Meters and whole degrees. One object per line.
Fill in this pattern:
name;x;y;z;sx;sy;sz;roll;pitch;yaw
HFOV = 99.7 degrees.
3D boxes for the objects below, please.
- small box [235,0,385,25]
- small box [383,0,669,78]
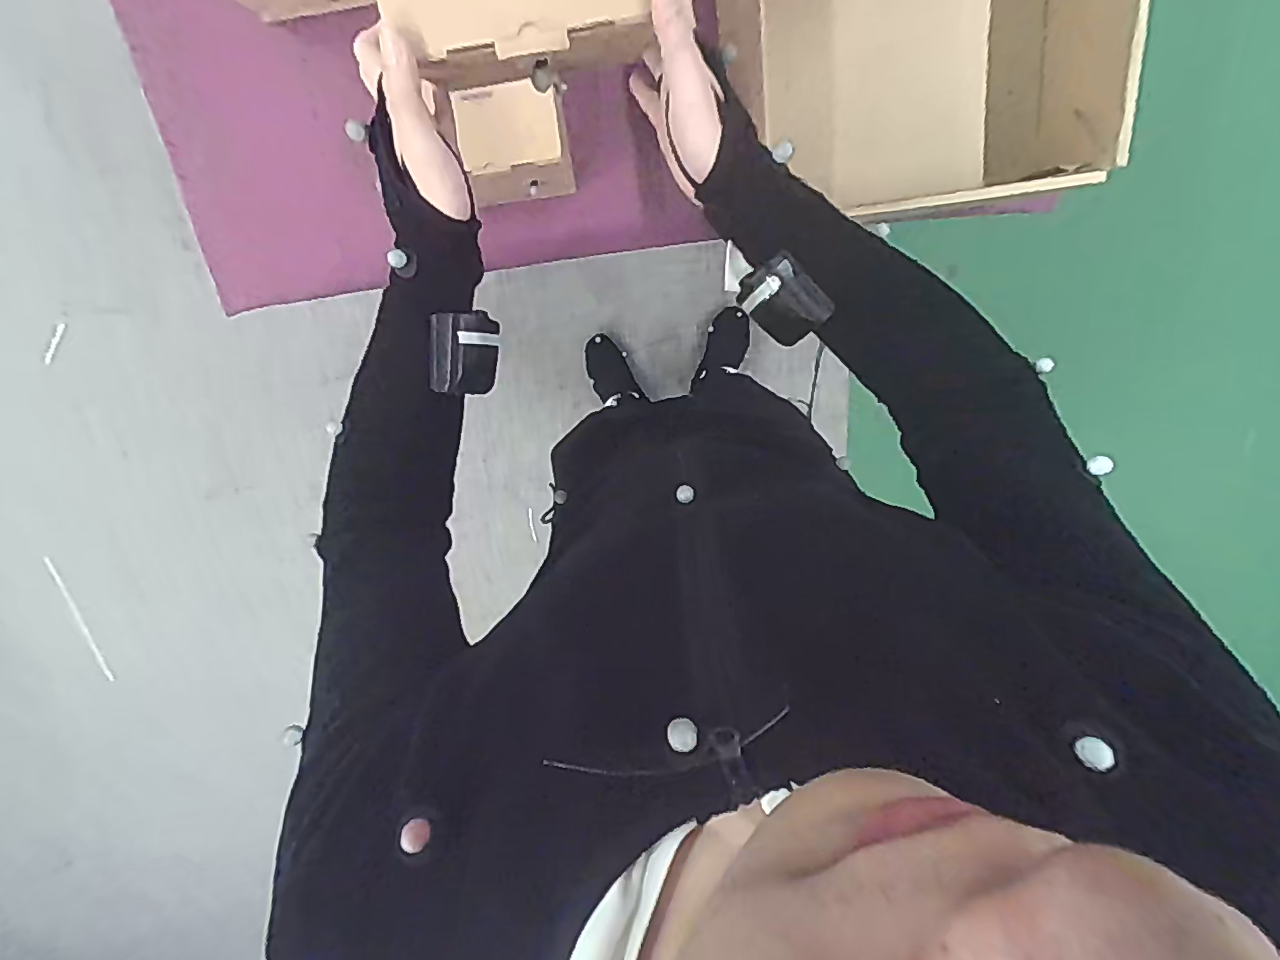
small box;-0.408;-0.644;0.593;0.168;0.176;0.179;-9;106;1
small box;-0.081;-0.374;0.342;0.168;0.176;0.179;-11;122;-1
